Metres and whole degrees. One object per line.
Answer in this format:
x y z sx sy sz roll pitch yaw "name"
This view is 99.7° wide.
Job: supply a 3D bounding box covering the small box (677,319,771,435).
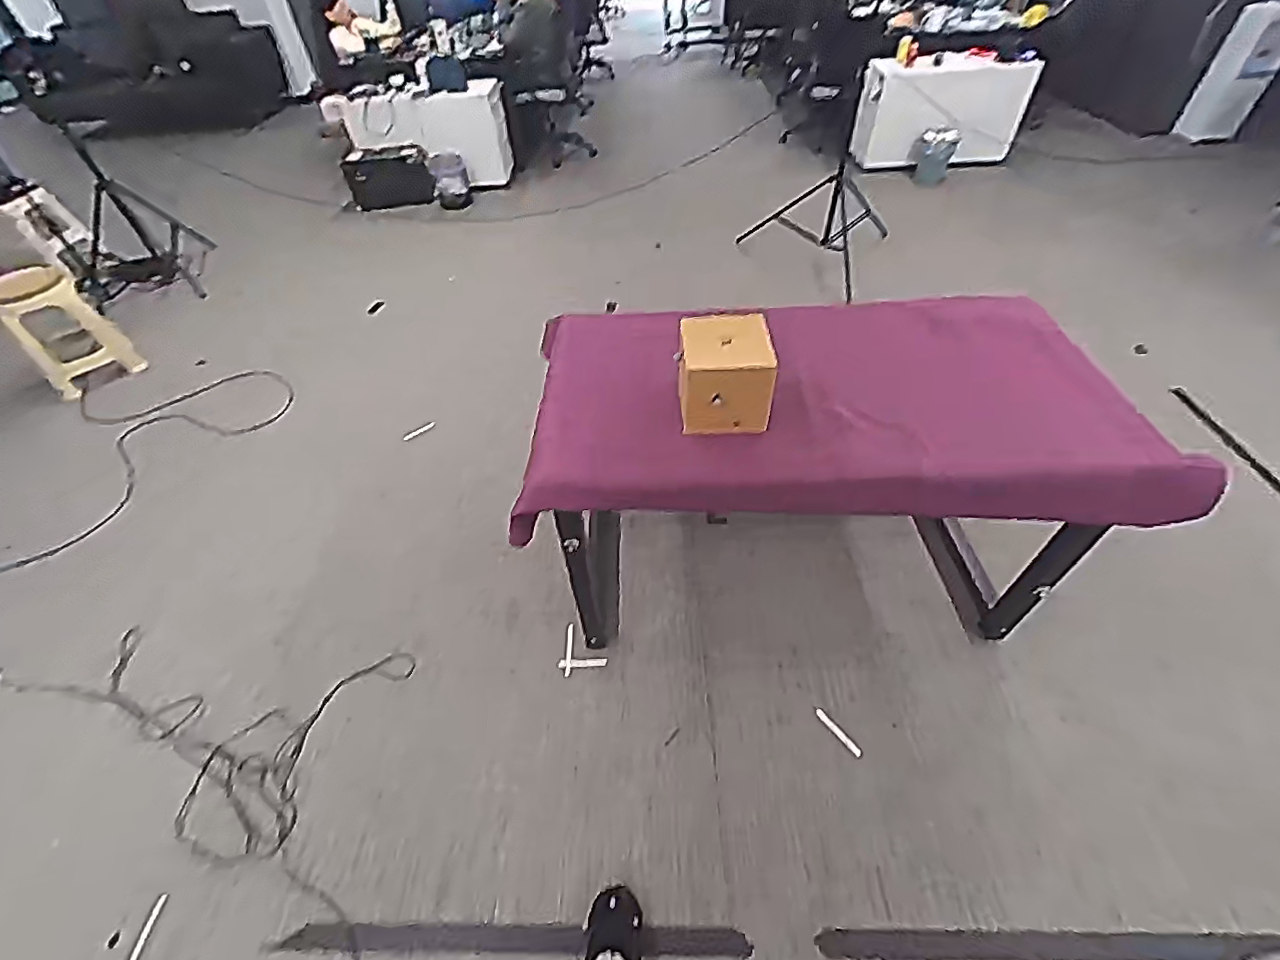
0.163 -0.204 1.096 0.168 0.176 0.179 -3 47 1 "small box"
